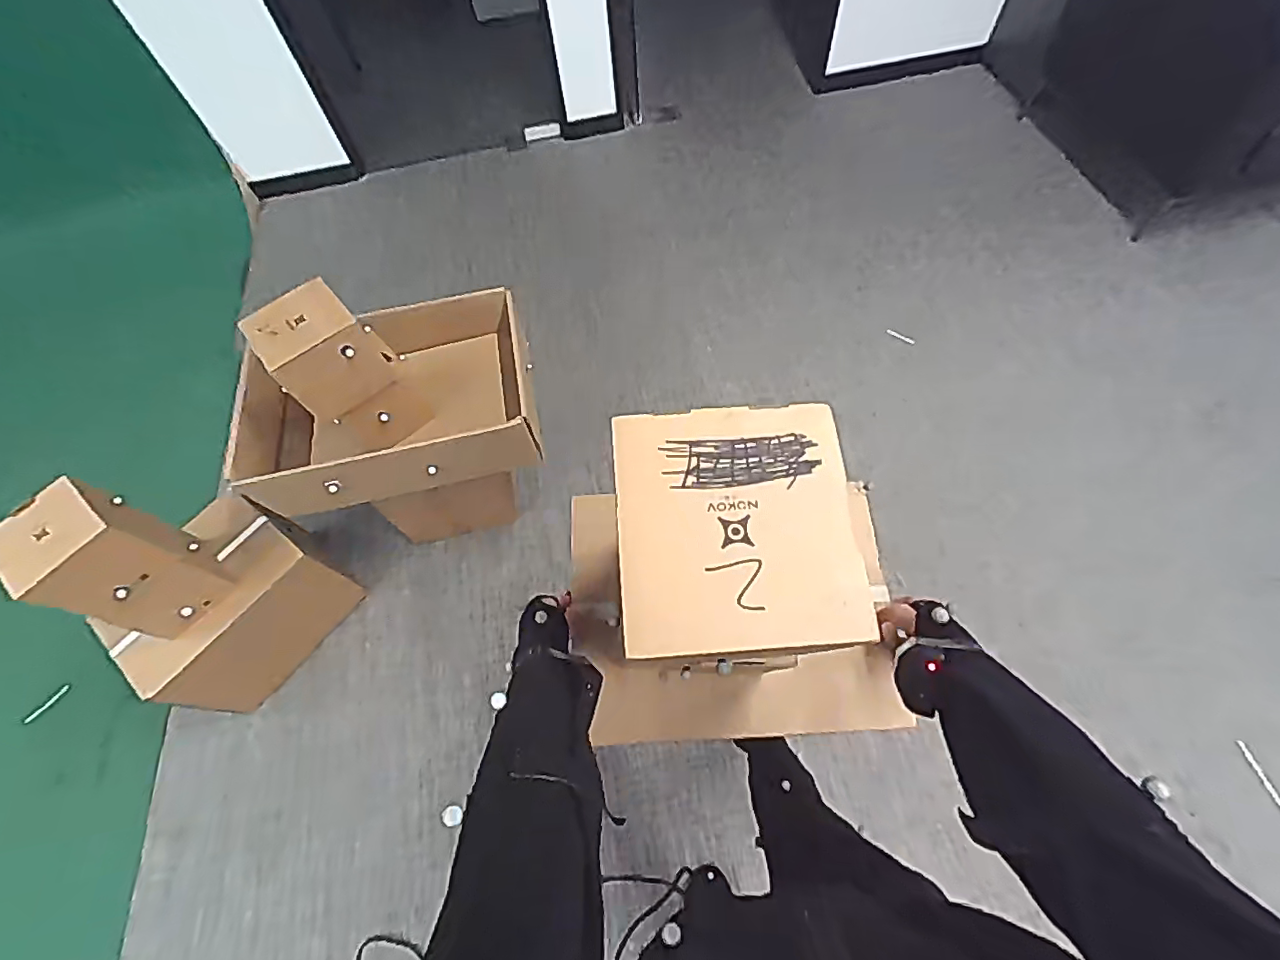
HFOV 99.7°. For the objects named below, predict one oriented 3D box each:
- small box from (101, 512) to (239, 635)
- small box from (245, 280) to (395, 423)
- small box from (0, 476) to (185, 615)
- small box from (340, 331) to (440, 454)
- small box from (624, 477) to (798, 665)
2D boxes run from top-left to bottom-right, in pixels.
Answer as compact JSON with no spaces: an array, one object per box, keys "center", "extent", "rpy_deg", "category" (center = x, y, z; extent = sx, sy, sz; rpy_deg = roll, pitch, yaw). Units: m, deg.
[{"center":[-1.023,0.207,1.160],"extent":[0.179,0.176,0.168],"rpy_deg":[37,71,21],"category":"small box"},{"center":[-0.616,-0.249,1.069],"extent":[0.179,0.176,0.168],"rpy_deg":[-38,65,-14],"category":"small box"},{"center":[-1.027,0.130,1.016],"extent":[0.179,0.176,0.168],"rpy_deg":[34,70,20],"category":"small box"},{"center":[-0.590,-0.191,1.223],"extent":[0.179,0.176,0.168],"rpy_deg":[-40,67,-15],"category":"small box"},{"center":[0.068,0.108,0.605],"extent":[0.168,0.176,0.179],"rpy_deg":[1,69,1],"category":"small box"}]
